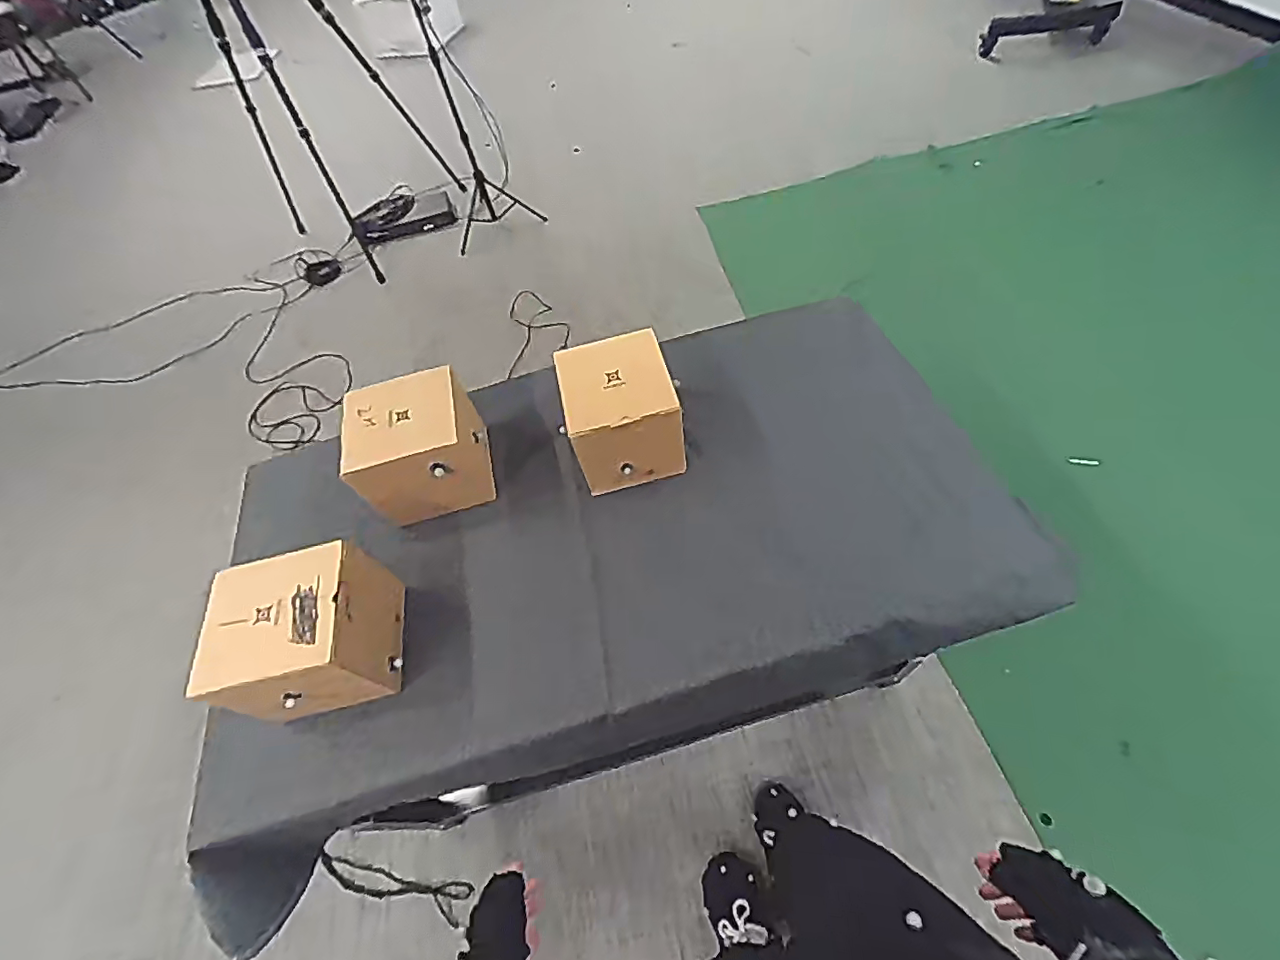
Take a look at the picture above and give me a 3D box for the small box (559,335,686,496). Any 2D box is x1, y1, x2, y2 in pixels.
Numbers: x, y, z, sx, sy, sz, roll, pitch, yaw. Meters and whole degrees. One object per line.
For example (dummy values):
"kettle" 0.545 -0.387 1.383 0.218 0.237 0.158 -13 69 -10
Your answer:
"small box" -0.026 -0.100 0.879 0.168 0.176 0.179 -14 57 -2

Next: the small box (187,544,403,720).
"small box" -0.443 0.210 0.732 0.179 0.176 0.168 -14 56 0

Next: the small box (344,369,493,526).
"small box" -0.350 -0.048 0.884 0.179 0.176 0.168 -16 57 -2
